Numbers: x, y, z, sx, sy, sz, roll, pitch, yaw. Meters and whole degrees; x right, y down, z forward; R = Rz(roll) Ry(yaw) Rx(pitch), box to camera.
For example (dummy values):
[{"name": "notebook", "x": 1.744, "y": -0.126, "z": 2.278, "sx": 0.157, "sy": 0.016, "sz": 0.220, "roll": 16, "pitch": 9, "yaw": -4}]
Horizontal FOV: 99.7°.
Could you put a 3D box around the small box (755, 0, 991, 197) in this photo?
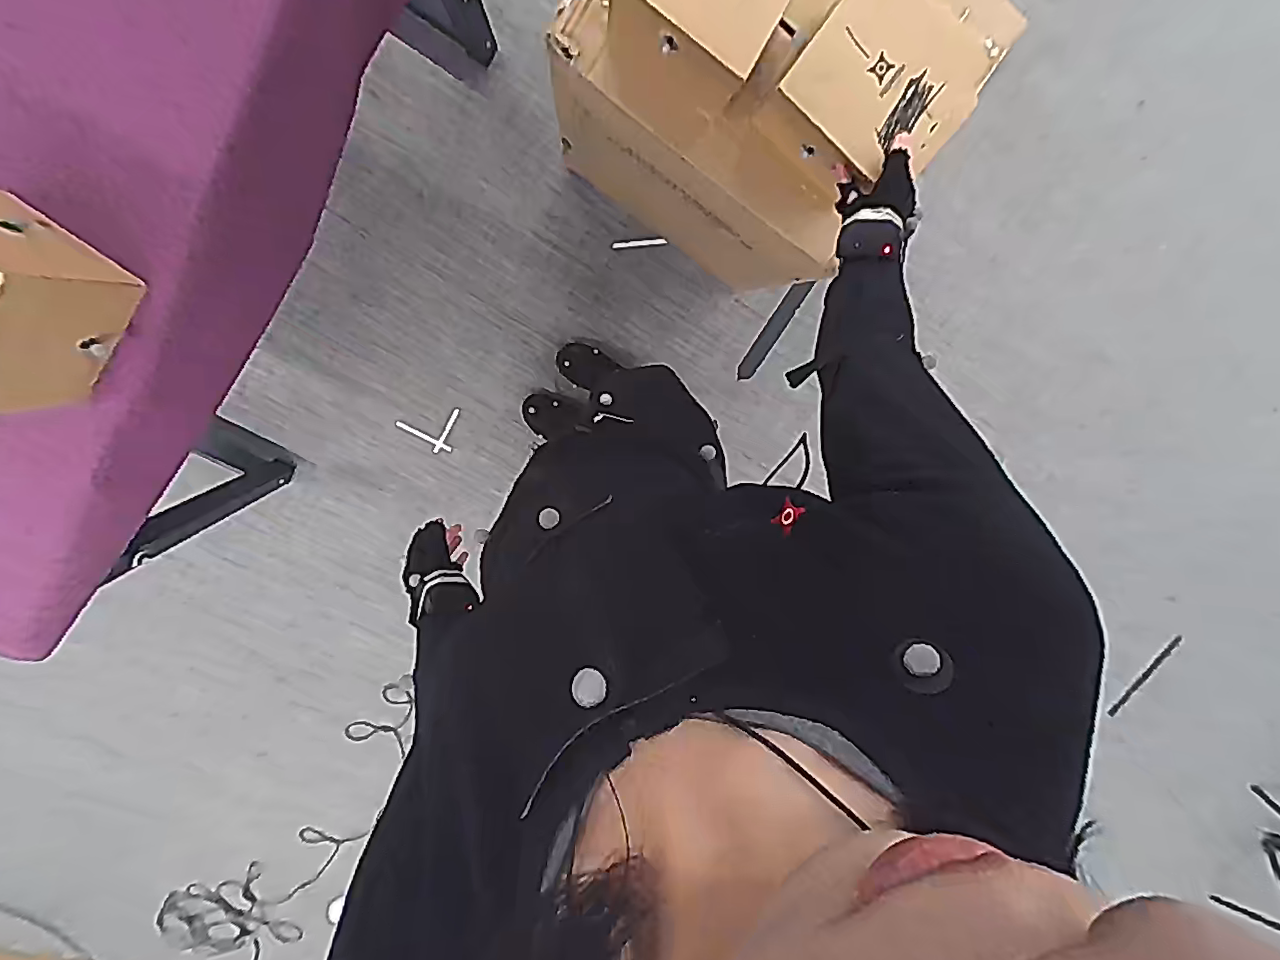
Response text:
[{"name": "small box", "x": 0.270, "y": -0.478, "z": 0.669, "sx": 0.179, "sy": 0.176, "sz": 0.168, "roll": 36, "pitch": 108, "yaw": -13}]

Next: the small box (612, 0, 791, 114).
[{"name": "small box", "x": 0.079, "y": -0.574, "z": 0.632, "sx": 0.179, "sy": 0.176, "sz": 0.168, "roll": 30, "pitch": 104, "yaw": -14}]

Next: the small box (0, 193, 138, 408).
[{"name": "small box", "x": -0.690, "y": -0.193, "z": 0.560, "sx": 0.168, "sy": 0.176, "sz": 0.179, "roll": 36, "pitch": 99, "yaw": -13}]
